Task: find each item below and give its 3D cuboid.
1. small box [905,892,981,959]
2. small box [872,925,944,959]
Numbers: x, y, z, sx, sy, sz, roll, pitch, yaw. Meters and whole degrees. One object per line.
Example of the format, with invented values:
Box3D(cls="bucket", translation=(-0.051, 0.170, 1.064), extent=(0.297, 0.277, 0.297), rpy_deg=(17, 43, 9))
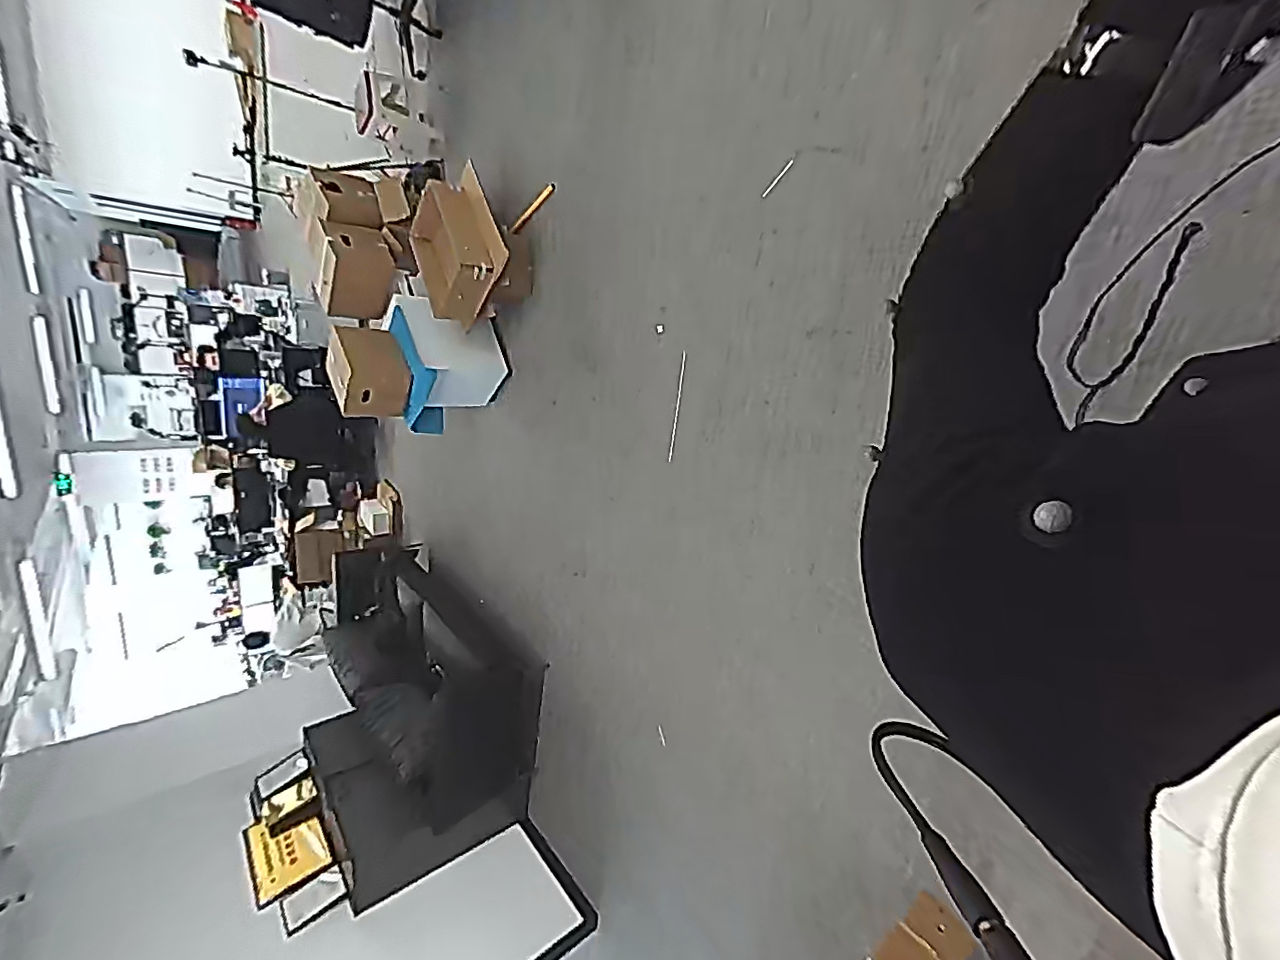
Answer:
Box3D(cls="small box", translation=(0.887, 1.397, 1.621), extent=(0.168, 0.176, 0.179), rpy_deg=(35, 119, 42))
Box3D(cls="small box", translation=(0.757, 1.416, 1.525), extent=(0.179, 0.176, 0.168), rpy_deg=(32, 119, 42))
